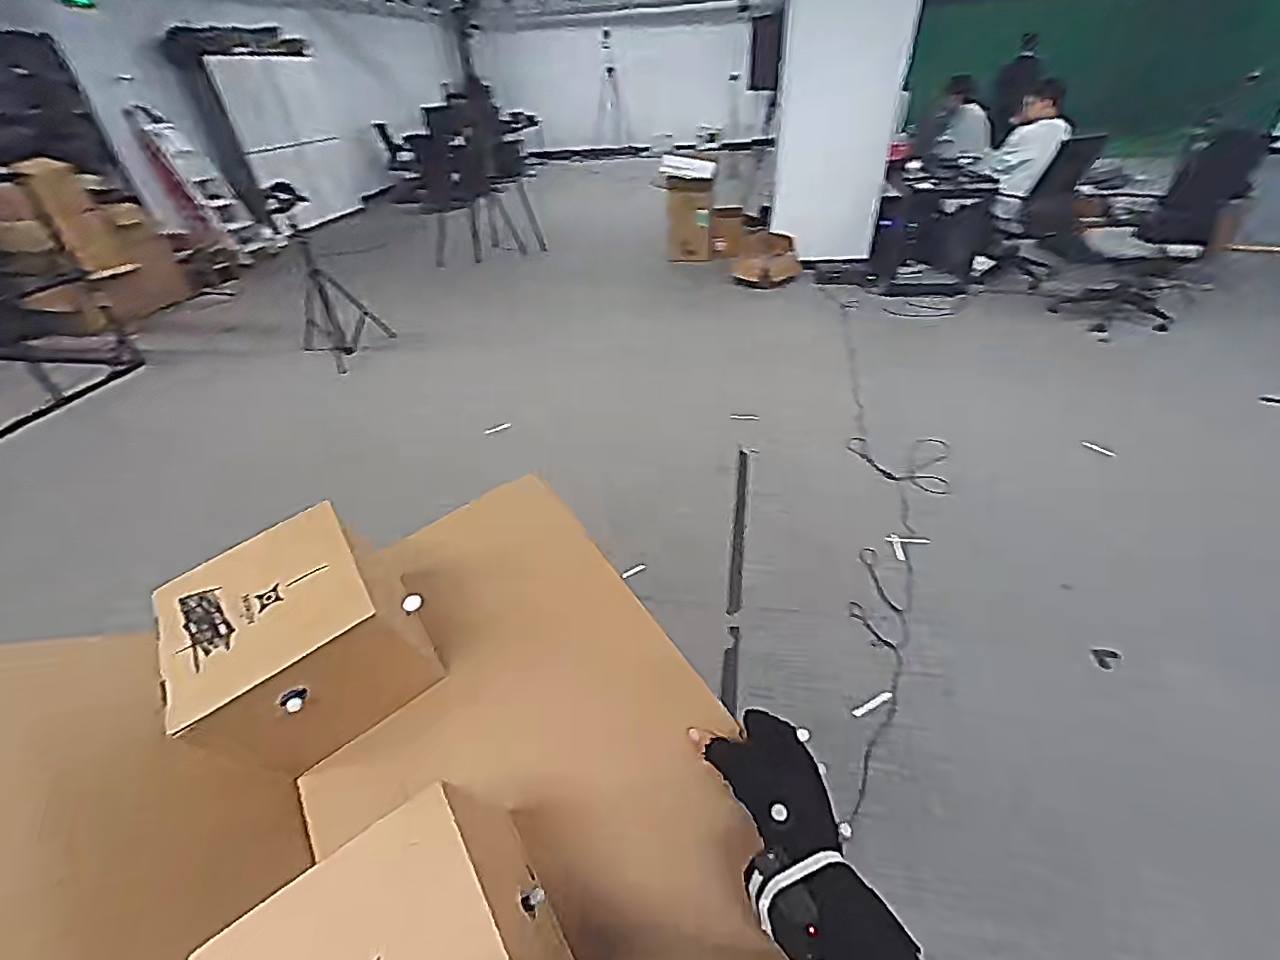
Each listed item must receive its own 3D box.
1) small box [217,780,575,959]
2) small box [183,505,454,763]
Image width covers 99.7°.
[{"bbox_3d":[-0.156,0.361,0.396,0.179,0.176,0.168,-30,53,-15],"label":"small box"},{"bbox_3d":[-0.331,0.166,0.577,0.179,0.176,0.168,-31,54,-17],"label":"small box"}]
